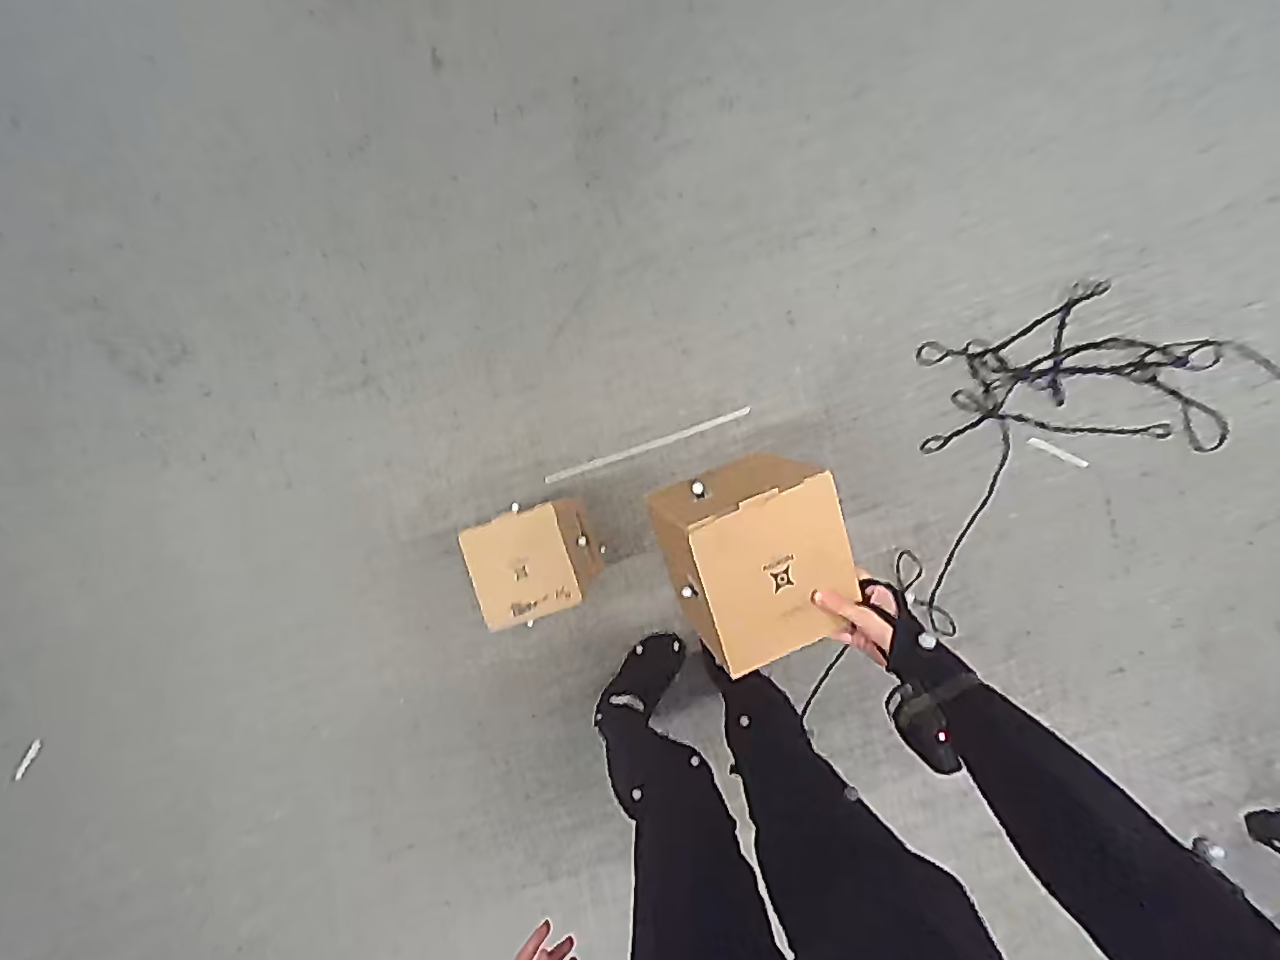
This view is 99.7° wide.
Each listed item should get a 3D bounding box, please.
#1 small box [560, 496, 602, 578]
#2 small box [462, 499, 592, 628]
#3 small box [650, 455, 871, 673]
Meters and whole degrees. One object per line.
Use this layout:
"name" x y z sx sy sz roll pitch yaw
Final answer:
"small box" -0.184 0.135 1.128 0.179 0.176 0.168 -19 90 1
"small box" -0.192 0.139 0.964 0.168 0.176 0.179 -18 89 1
"small box" 0.125 0.077 0.615 0.168 0.176 0.179 -20 103 -10
